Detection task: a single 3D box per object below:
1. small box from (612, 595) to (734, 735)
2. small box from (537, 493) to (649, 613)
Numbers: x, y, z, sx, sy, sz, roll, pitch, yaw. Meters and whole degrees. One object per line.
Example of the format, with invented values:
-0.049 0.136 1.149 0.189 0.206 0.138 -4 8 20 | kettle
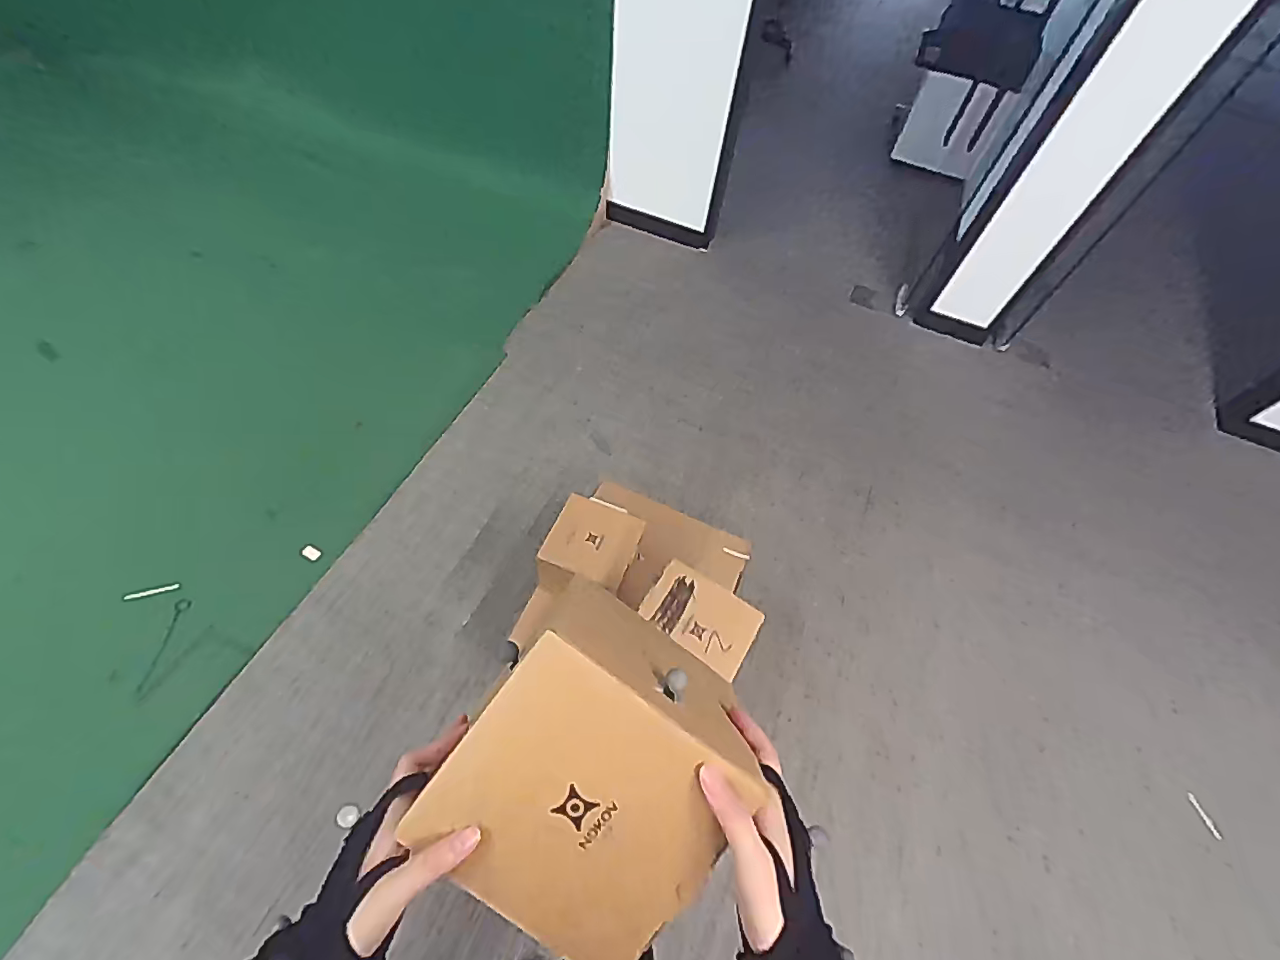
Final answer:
0.056 0.357 1.035 0.168 0.176 0.179 27 58 10 | small box
-0.099 0.162 1.145 0.179 0.176 0.168 22 56 8 | small box
